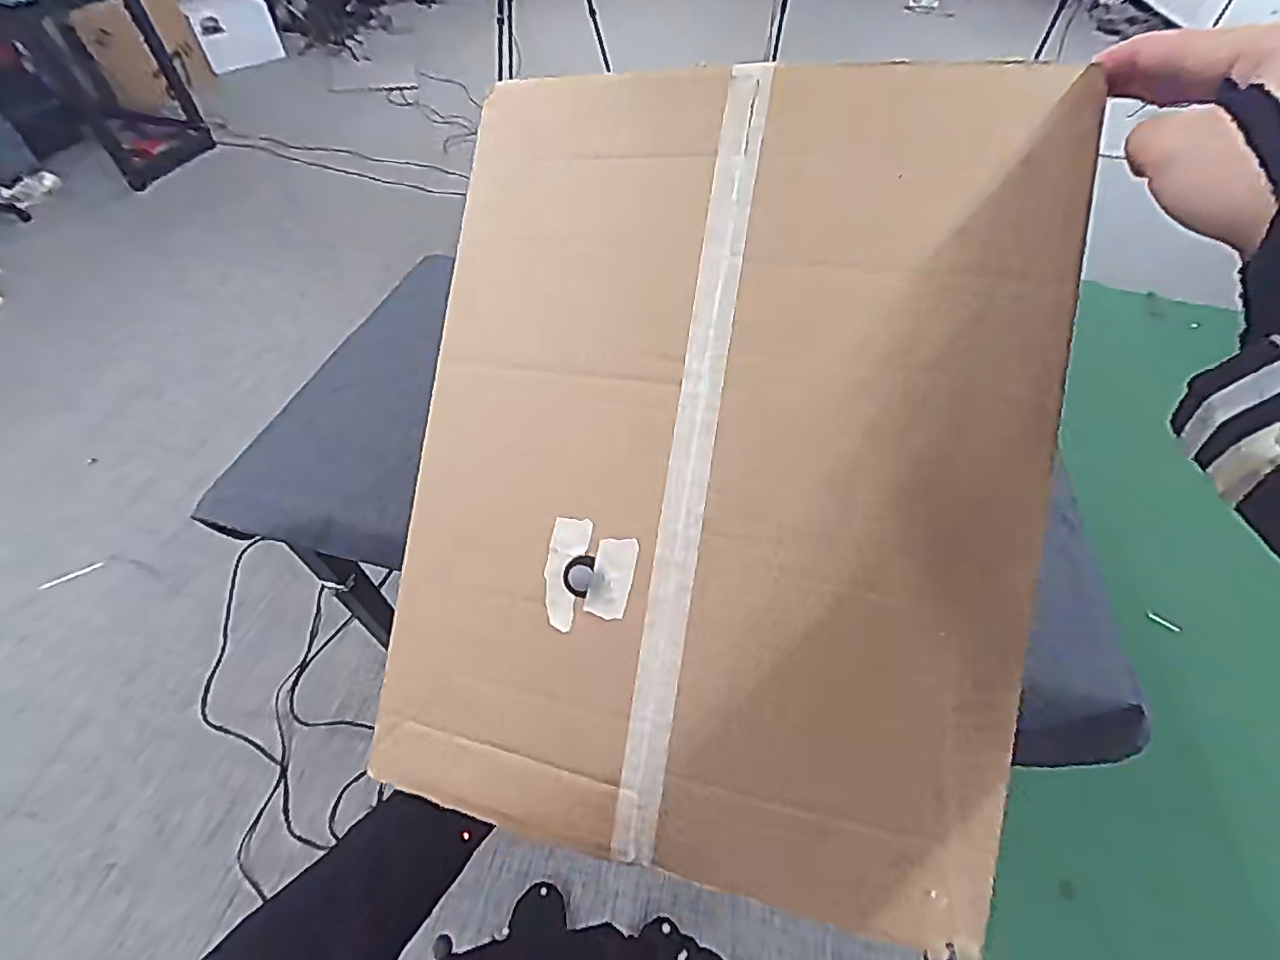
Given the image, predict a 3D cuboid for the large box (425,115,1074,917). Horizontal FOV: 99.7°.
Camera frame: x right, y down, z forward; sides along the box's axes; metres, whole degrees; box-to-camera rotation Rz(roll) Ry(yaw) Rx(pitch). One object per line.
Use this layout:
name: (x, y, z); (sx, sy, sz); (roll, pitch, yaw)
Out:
large box: (0.073, 0.002, 0.439); (0.320, 0.320, 0.408); (8, 89, 13)
